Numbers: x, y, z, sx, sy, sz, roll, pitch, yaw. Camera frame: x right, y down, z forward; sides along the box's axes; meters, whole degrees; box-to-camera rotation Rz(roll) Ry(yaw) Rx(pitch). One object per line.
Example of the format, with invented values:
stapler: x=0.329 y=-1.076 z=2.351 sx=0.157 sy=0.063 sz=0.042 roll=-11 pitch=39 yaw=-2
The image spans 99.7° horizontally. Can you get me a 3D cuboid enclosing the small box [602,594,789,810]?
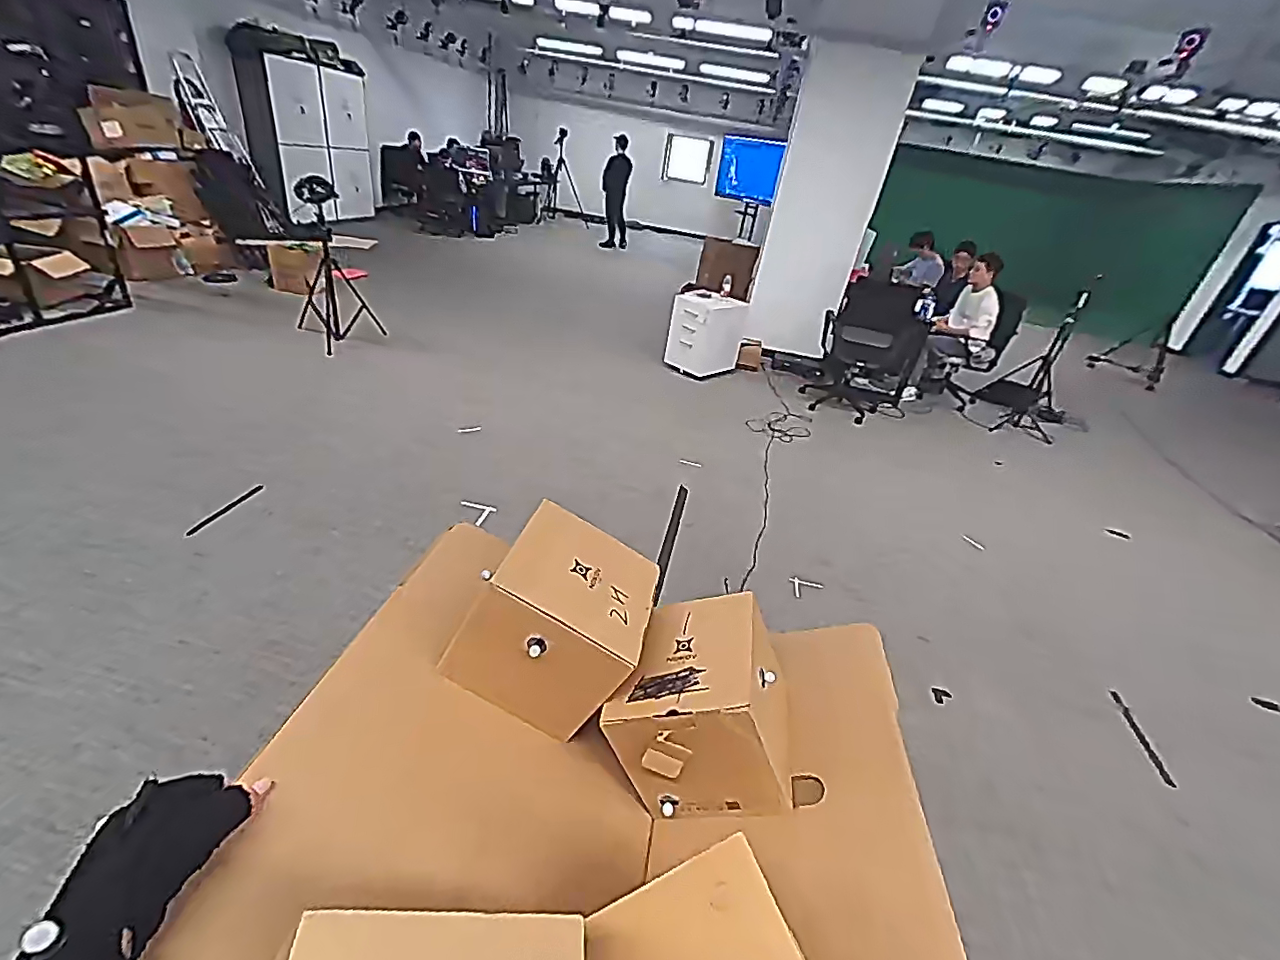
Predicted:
small box: x=0.078 y=0.268 z=0.651 sx=0.168 sy=0.176 sz=0.179 roll=-14 pitch=23 yaw=20
